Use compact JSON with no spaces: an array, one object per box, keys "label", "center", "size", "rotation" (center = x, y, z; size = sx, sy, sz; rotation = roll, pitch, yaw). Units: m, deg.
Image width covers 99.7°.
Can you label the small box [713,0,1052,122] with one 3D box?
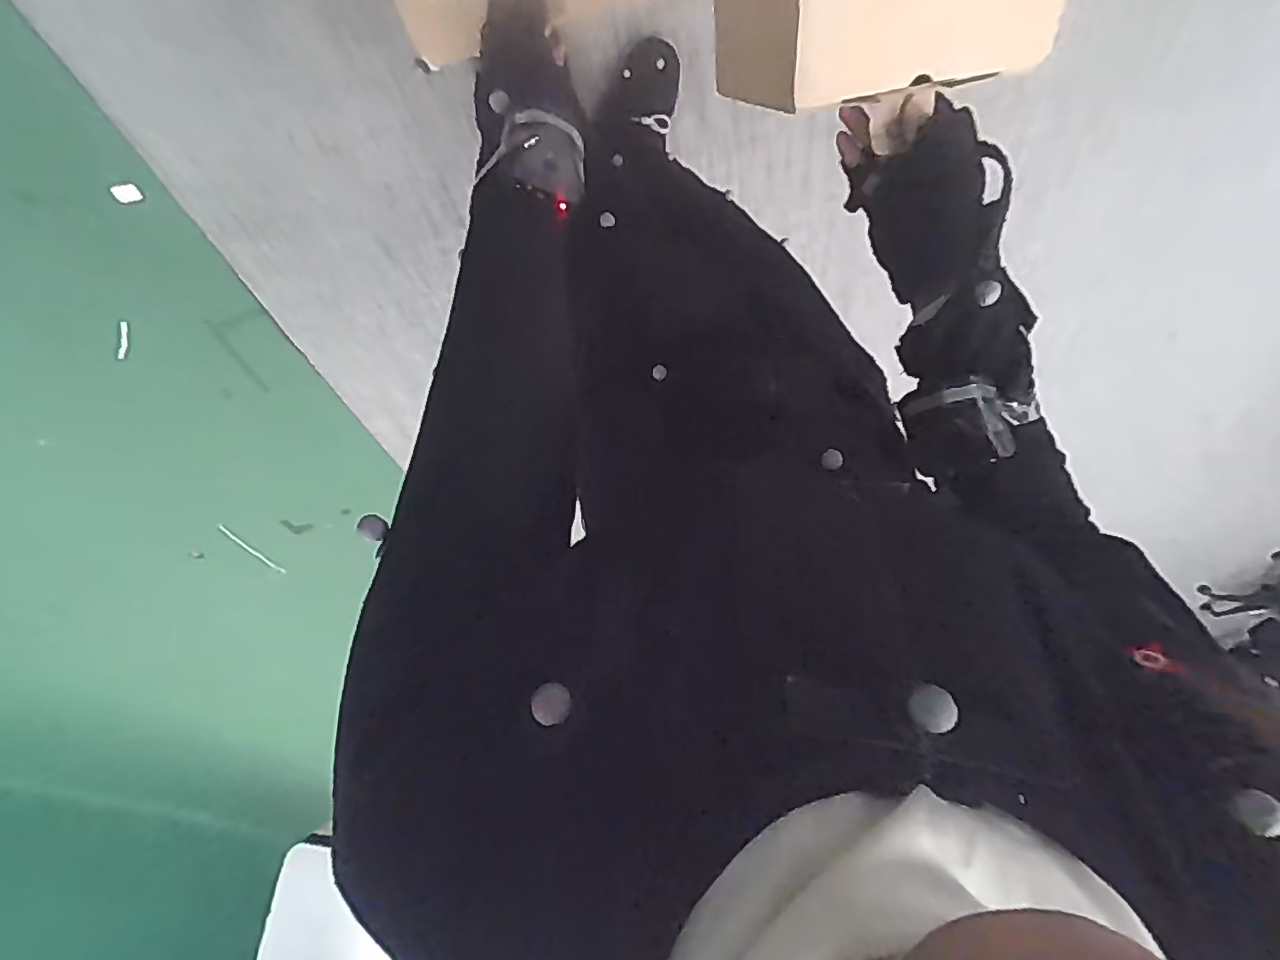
[{"label":"small box","center":[0.147,-0.358,0.350],"size":[0.168,0.176,0.179],"rotation":[-12,130,-3]}]
